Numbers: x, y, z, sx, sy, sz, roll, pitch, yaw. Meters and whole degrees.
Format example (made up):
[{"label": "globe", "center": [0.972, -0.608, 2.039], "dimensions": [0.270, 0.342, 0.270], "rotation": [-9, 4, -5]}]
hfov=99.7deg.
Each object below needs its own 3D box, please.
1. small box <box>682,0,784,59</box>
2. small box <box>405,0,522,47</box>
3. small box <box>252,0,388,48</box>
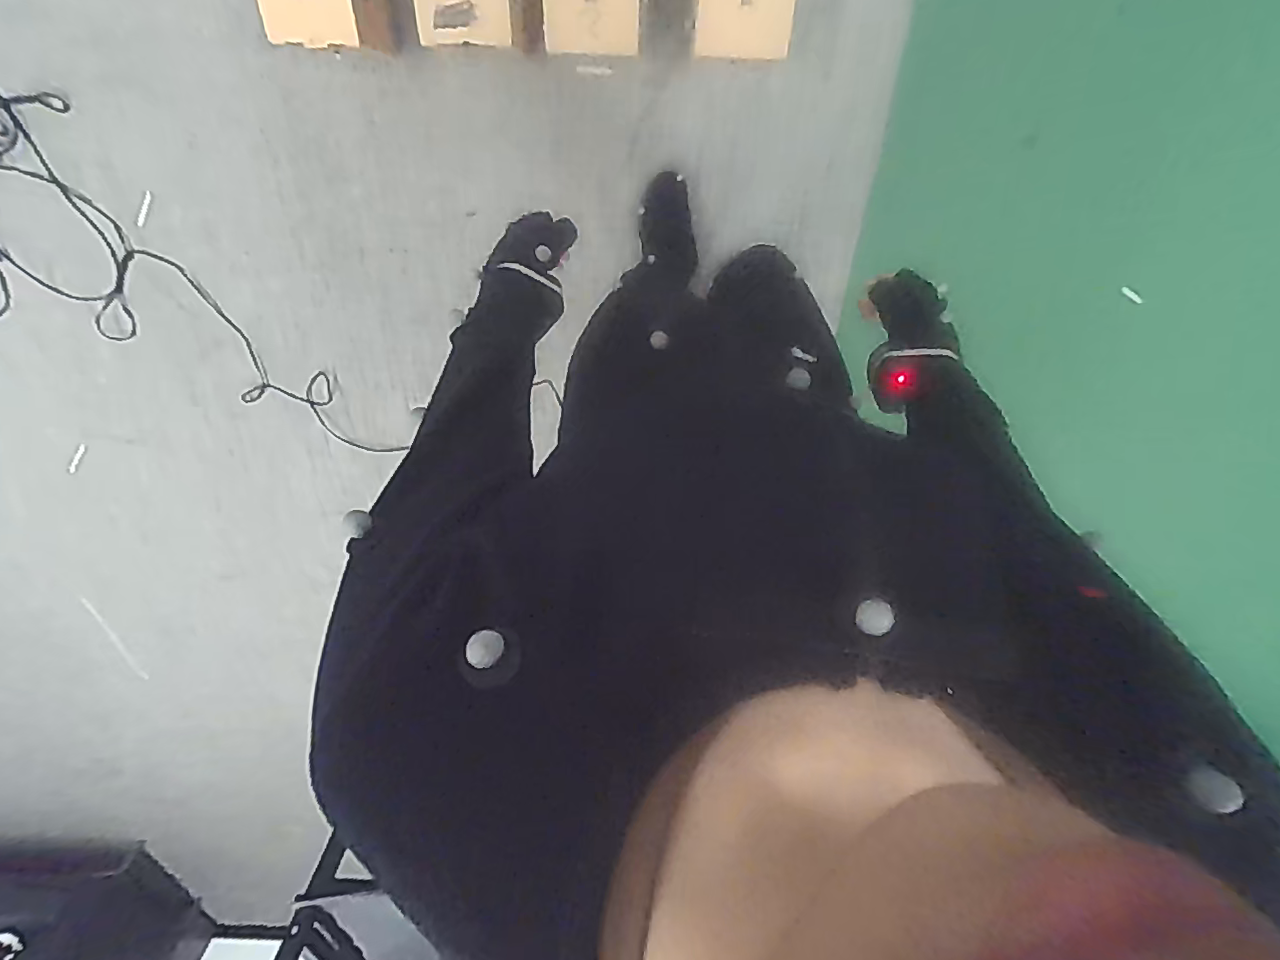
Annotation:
[{"label": "small box", "center": [0.166, -0.873, 0.968], "dimensions": [0.168, 0.176, 0.179], "rotation": [3, 124, -1]}, {"label": "small box", "center": [-0.314, -0.893, 0.964], "dimensions": [0.168, 0.176, 0.179], "rotation": [2, 122, 1]}, {"label": "small box", "center": [-0.581, -0.901, 0.970], "dimensions": [0.168, 0.176, 0.179], "rotation": [3, 124, 0]}]
